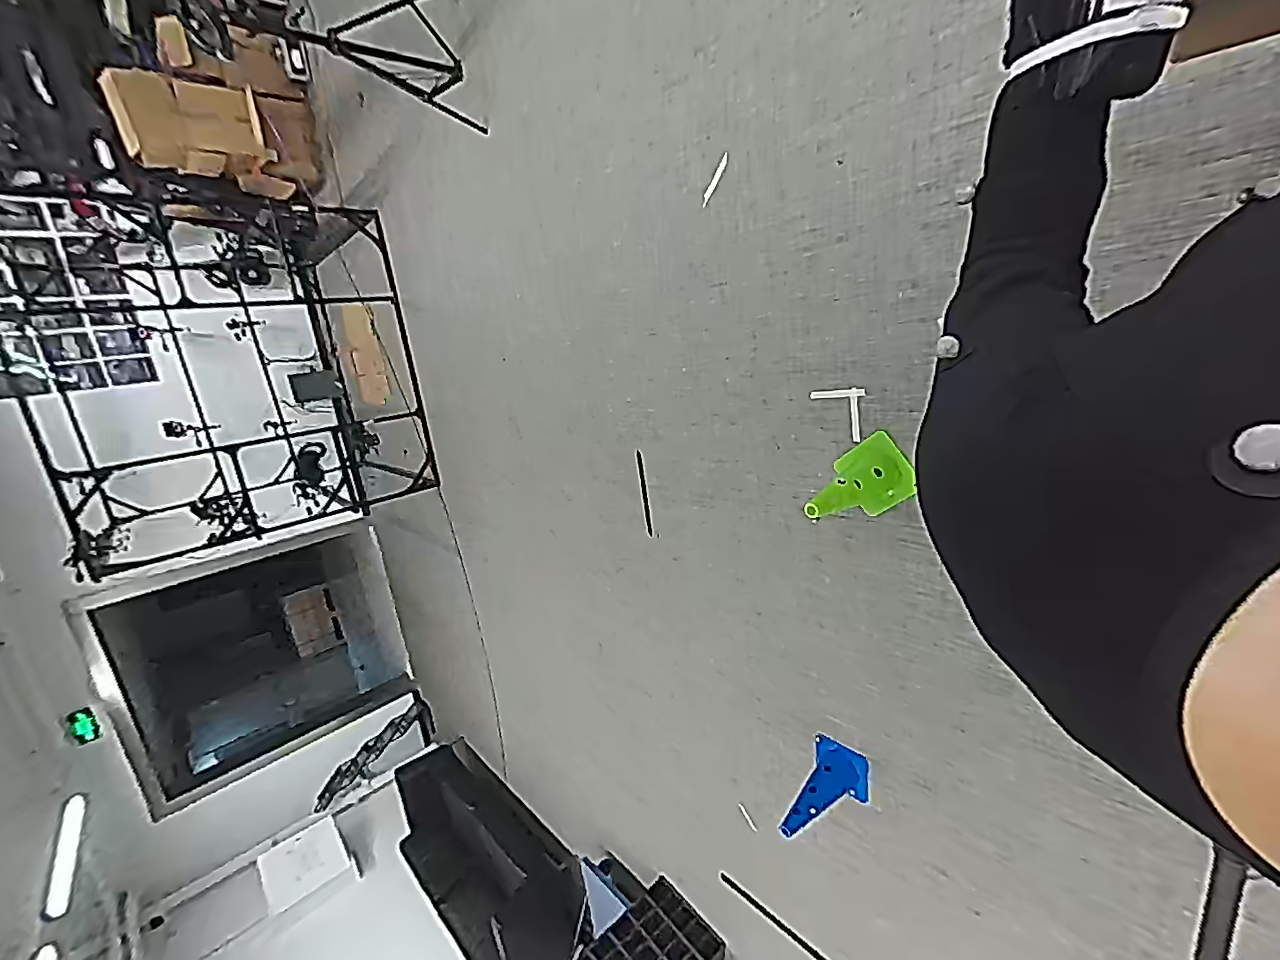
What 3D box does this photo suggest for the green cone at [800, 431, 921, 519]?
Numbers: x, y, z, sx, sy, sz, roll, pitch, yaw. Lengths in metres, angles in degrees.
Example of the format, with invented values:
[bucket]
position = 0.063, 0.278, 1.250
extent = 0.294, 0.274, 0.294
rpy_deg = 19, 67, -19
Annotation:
[green cone]
position = 0.555, 0.028, 1.464
extent = 0.200, 0.368, 0.202
rpy_deg = 59, 142, 15

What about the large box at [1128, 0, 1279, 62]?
[large box]
position = 0.524, -0.471, 0.251
extent = 0.408, 0.320, 0.320
rpy_deg = 11, 120, 44

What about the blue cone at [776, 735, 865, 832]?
[blue cone]
position = 0.606, 1.084, 1.868
extent = 0.192, 0.380, 0.193
rpy_deg = 14, 115, 48
